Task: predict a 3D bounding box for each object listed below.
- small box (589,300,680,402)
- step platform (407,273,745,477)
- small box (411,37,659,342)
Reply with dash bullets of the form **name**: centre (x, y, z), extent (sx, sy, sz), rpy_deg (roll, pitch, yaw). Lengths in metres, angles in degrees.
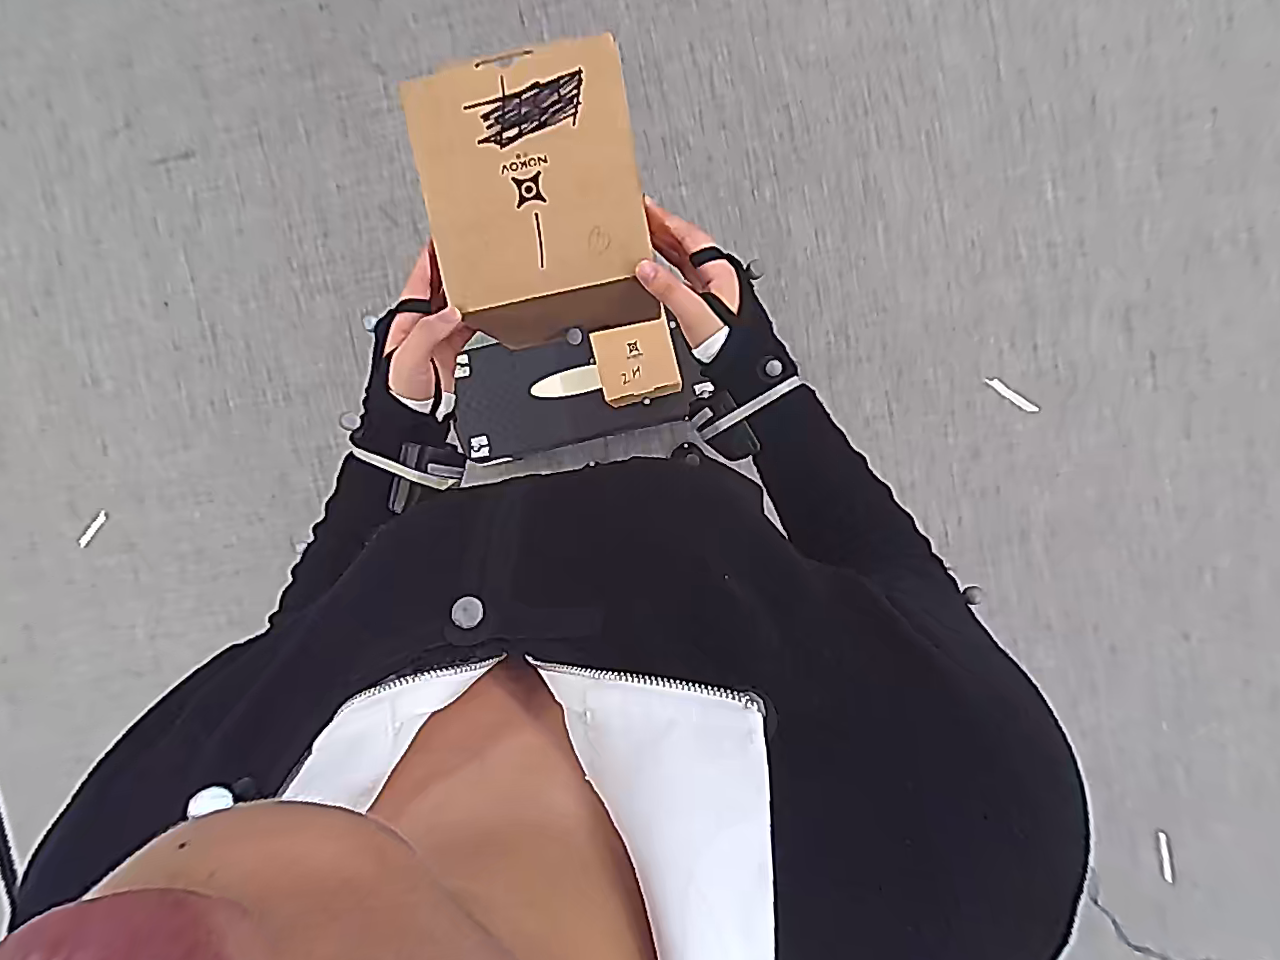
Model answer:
- **small box**: centre (-0.011, -0.278, 1.209), extent (0.168, 0.176, 0.179), rpy_deg (-13, 93, 4)
- **step platform**: centre (-0.132, -0.212, 1.183), extent (0.684, 0.204, 0.286), rpy_deg (-13, 92, 3)
- **small box**: centre (-0.077, -0.238, 0.491), extent (0.168, 0.176, 0.179), rpy_deg (-10, 95, 4)
